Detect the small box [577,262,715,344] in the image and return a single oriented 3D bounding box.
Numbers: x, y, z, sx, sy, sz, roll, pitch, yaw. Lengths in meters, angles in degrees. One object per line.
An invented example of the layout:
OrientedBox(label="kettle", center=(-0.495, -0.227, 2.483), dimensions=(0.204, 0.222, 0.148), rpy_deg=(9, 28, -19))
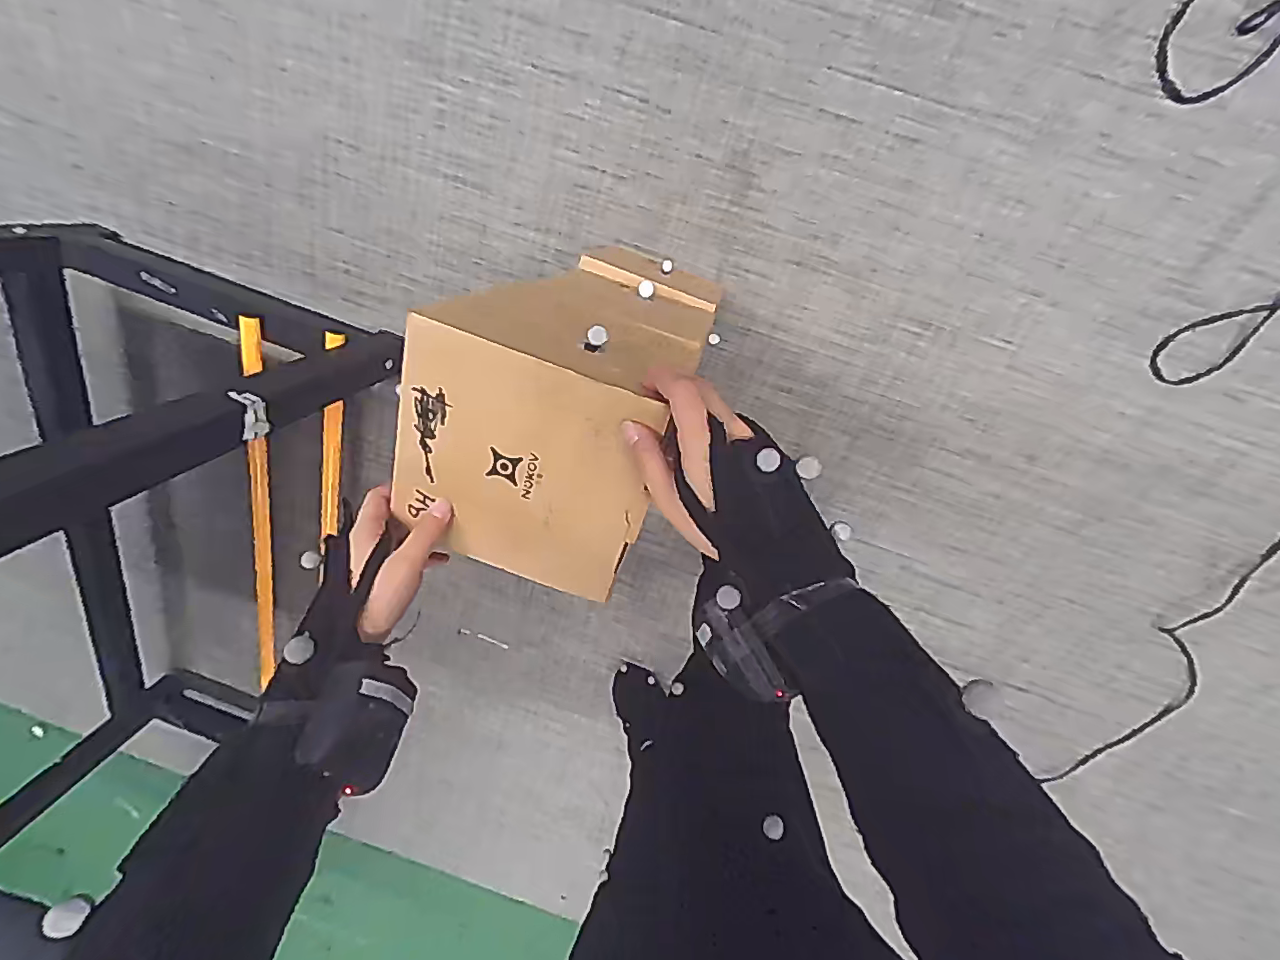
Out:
OrientedBox(label="small box", center=(-0.006, -0.180, 0.727), dimensions=(0.168, 0.176, 0.179), rpy_deg=(22, 116, 1))

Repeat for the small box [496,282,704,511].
OrientedBox(label="small box", center=(-0.034, -0.100, 0.587), dimensions=(0.168, 0.176, 0.179), rpy_deg=(19, 116, 2))
